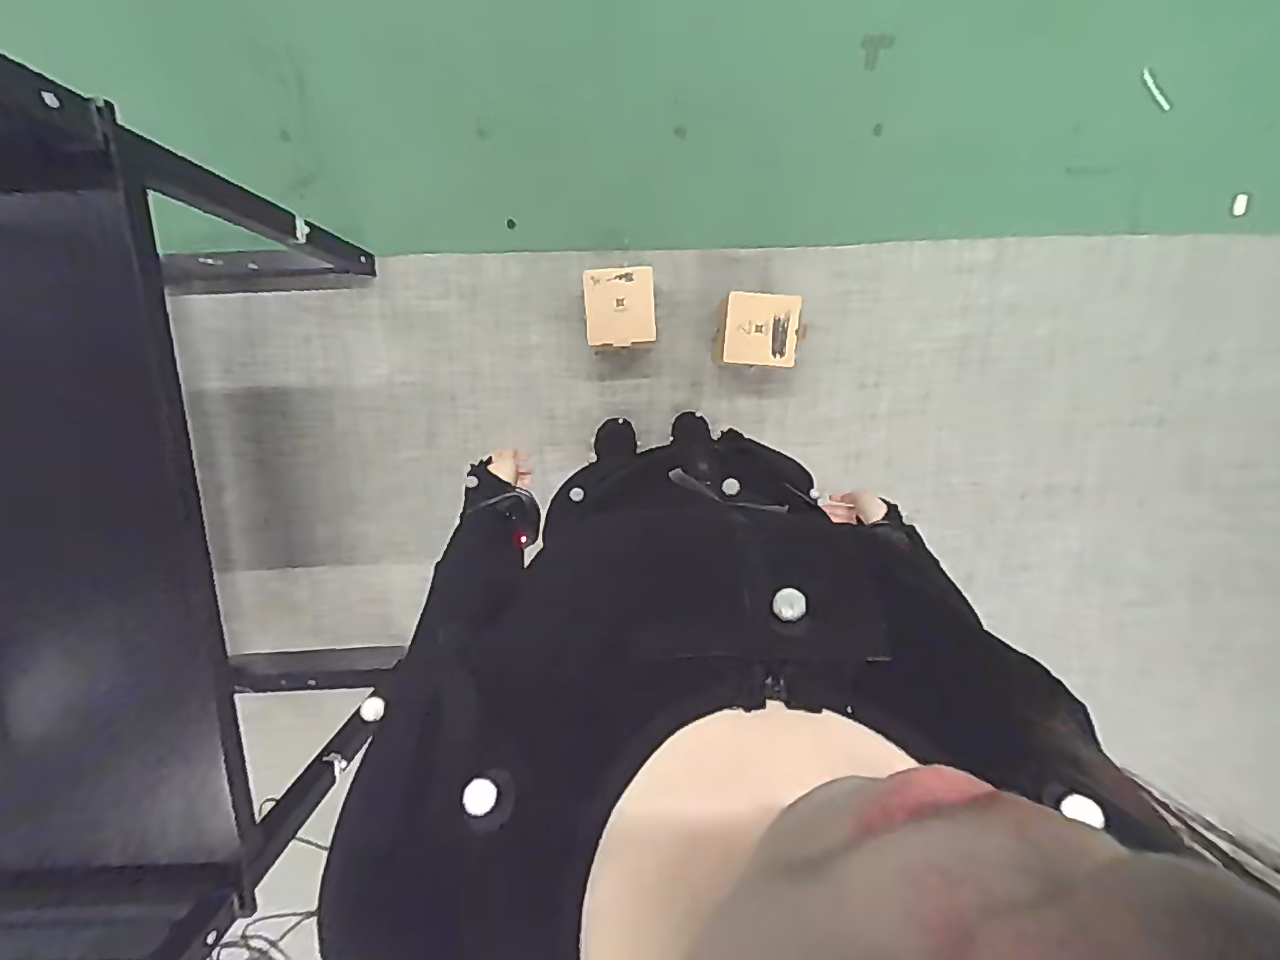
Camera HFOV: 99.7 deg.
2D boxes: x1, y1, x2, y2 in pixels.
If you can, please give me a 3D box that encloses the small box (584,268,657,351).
[{"bbox_3d":[-0.042,-0.412,1.336,0.168,0.176,0.179,-4,100,1],"label":"small box"}]
